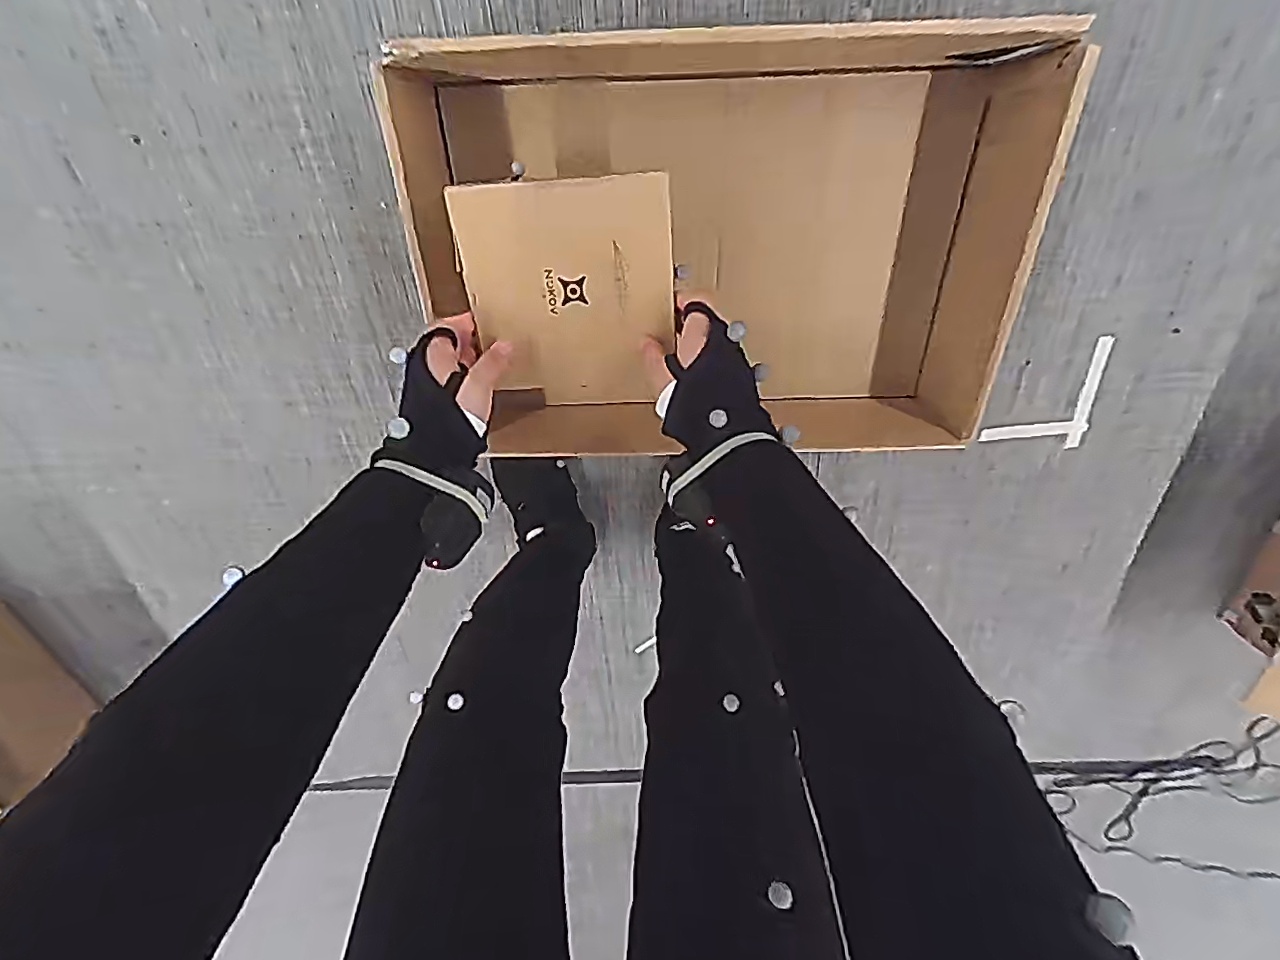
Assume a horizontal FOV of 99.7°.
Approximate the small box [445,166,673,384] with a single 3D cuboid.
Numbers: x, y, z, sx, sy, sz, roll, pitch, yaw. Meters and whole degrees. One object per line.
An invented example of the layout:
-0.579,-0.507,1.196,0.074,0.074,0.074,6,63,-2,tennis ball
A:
-0.059,-0.202,0.523,0.179,0.176,0.168,-3,121,3,small box
